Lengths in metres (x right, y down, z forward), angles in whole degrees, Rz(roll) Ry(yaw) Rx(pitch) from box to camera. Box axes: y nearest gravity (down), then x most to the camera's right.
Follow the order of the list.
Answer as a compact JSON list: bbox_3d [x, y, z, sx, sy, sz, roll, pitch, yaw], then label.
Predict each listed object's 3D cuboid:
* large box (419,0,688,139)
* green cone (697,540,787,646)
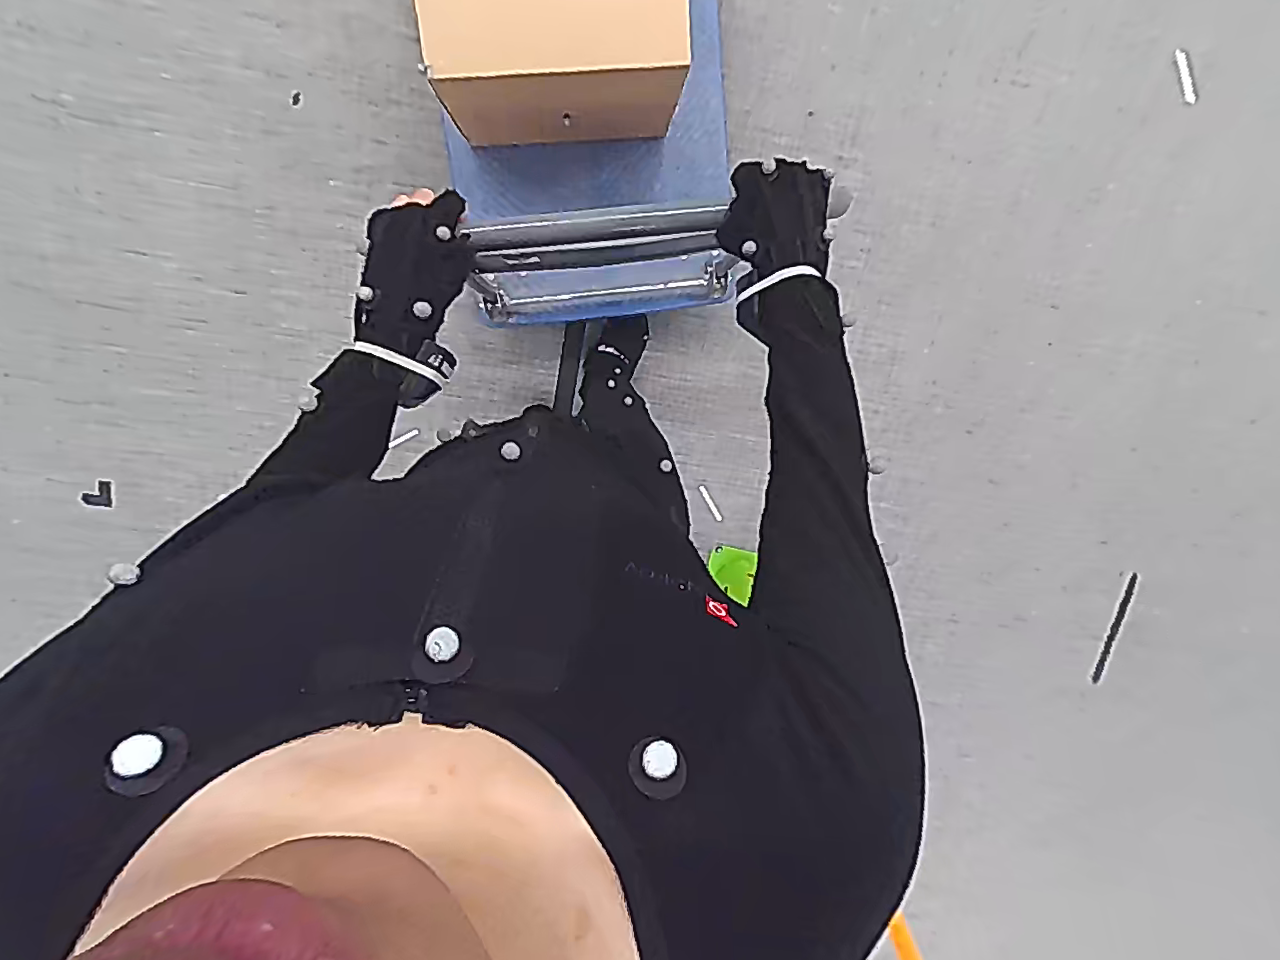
[{"bbox_3d":[-0.143,-0.820,0.933,0.408,0.320,0.320,-5,106,-3],"label":"large box"},{"bbox_3d":[0.299,0.325,1.420,0.202,0.368,0.200,12,103,-9],"label":"green cone"}]
